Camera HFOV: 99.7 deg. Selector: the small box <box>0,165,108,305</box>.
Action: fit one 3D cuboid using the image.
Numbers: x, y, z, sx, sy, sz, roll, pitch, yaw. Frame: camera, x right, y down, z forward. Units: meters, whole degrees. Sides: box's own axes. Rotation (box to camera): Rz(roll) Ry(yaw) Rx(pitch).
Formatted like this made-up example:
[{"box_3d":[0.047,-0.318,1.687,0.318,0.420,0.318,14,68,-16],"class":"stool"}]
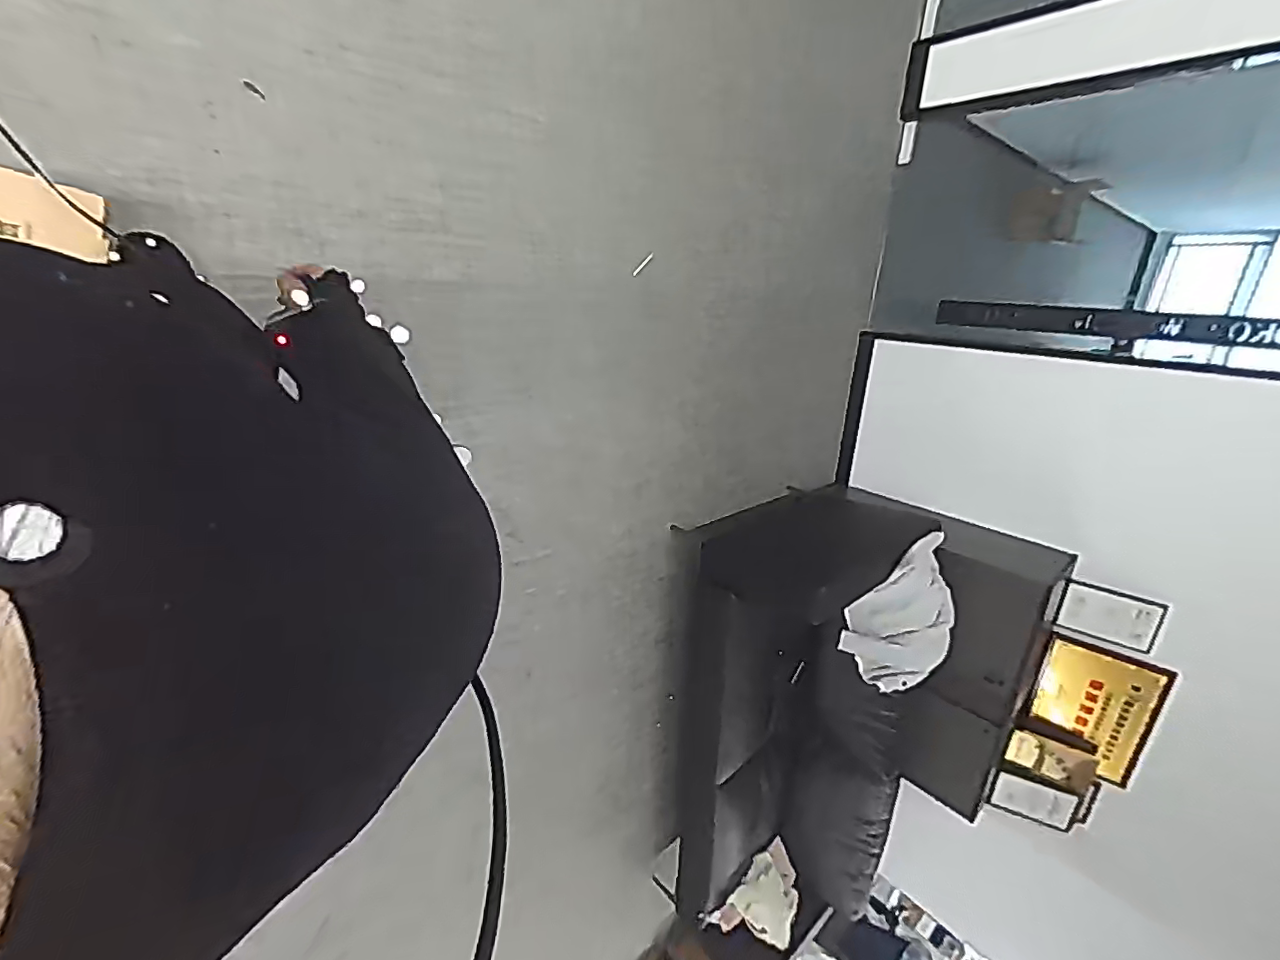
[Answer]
[{"box_3d":[-0.936,-0.377,0.820,0.179,0.176,0.168,3,105,-45],"class":"small box"}]
